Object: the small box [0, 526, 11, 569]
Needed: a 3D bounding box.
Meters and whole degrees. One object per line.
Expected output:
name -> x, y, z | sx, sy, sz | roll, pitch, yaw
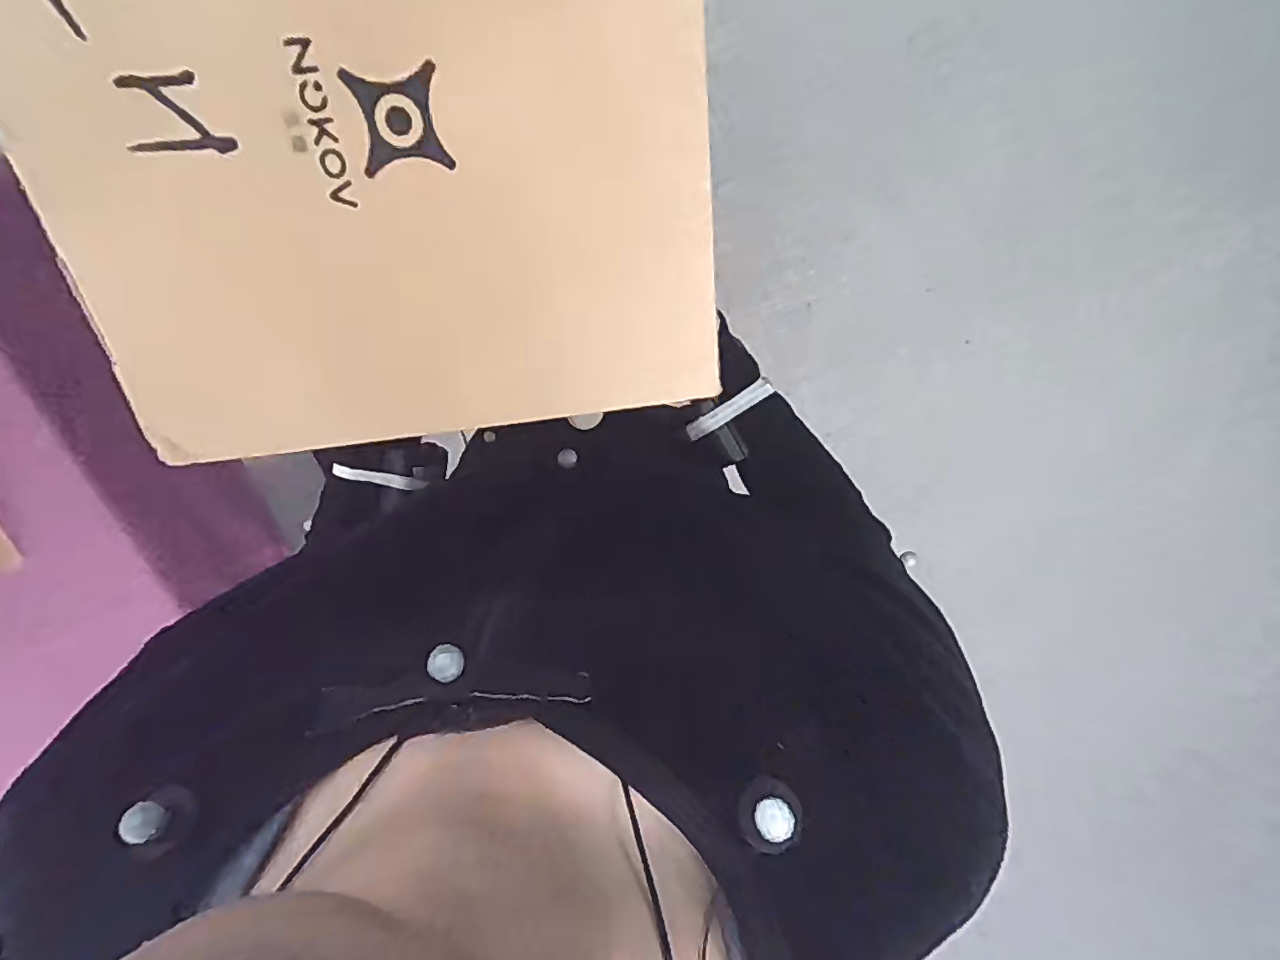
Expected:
small box -> -0.974, 0.085, 0.677 | 0.179, 0.176, 0.168 | -19, 104, 5
